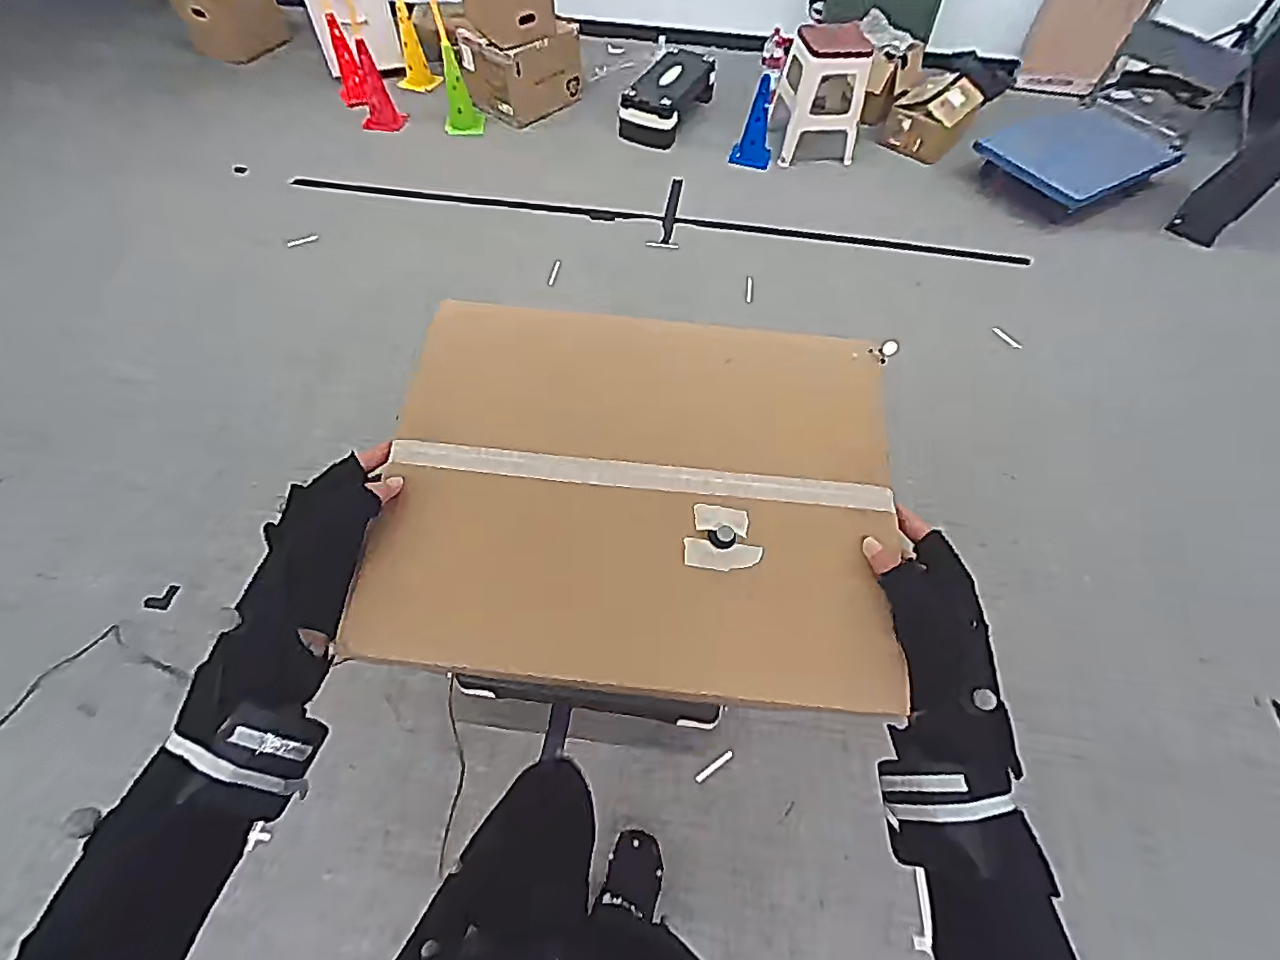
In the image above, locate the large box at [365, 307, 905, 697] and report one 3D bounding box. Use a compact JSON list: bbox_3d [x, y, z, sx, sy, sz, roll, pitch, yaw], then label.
[{"bbox_3d":[0.002,0.051,0.584,0.408,0.320,0.320,6,68,0],"label":"large box"}]
